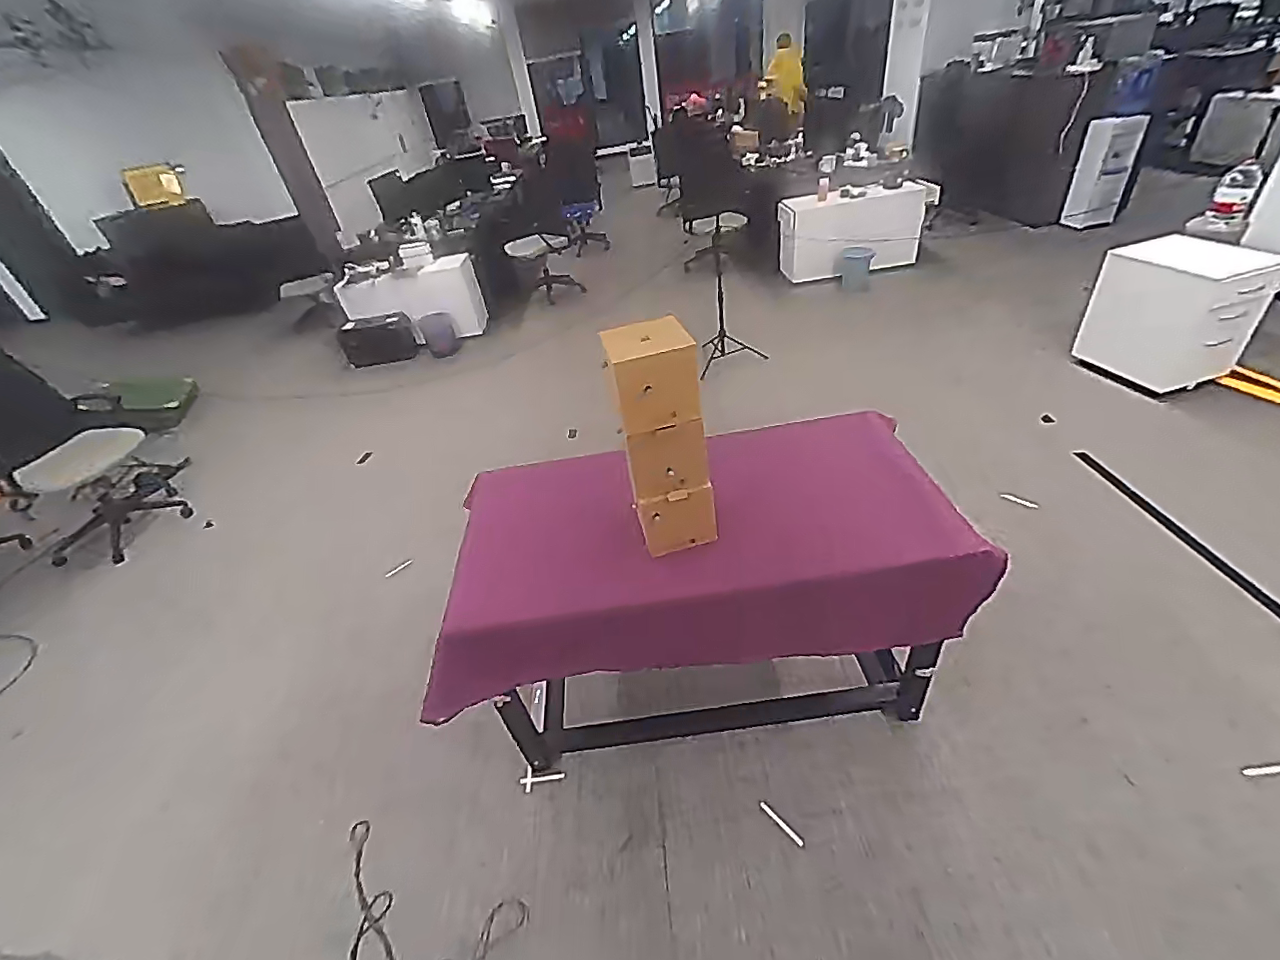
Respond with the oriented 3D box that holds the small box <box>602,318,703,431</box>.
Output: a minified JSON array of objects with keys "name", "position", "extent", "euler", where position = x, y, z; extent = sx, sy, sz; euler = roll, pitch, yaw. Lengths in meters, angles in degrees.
[{"name":"small box","position":[0.026,-0.215,1.127],"extent":[0.168,0.176,0.179],"euler":[-14,35,-5]}]

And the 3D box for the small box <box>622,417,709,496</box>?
[{"name":"small box","position":[0.052,-0.088,1.226],"extent":[0.168,0.176,0.179],"euler":[-13,37,-3]}]
